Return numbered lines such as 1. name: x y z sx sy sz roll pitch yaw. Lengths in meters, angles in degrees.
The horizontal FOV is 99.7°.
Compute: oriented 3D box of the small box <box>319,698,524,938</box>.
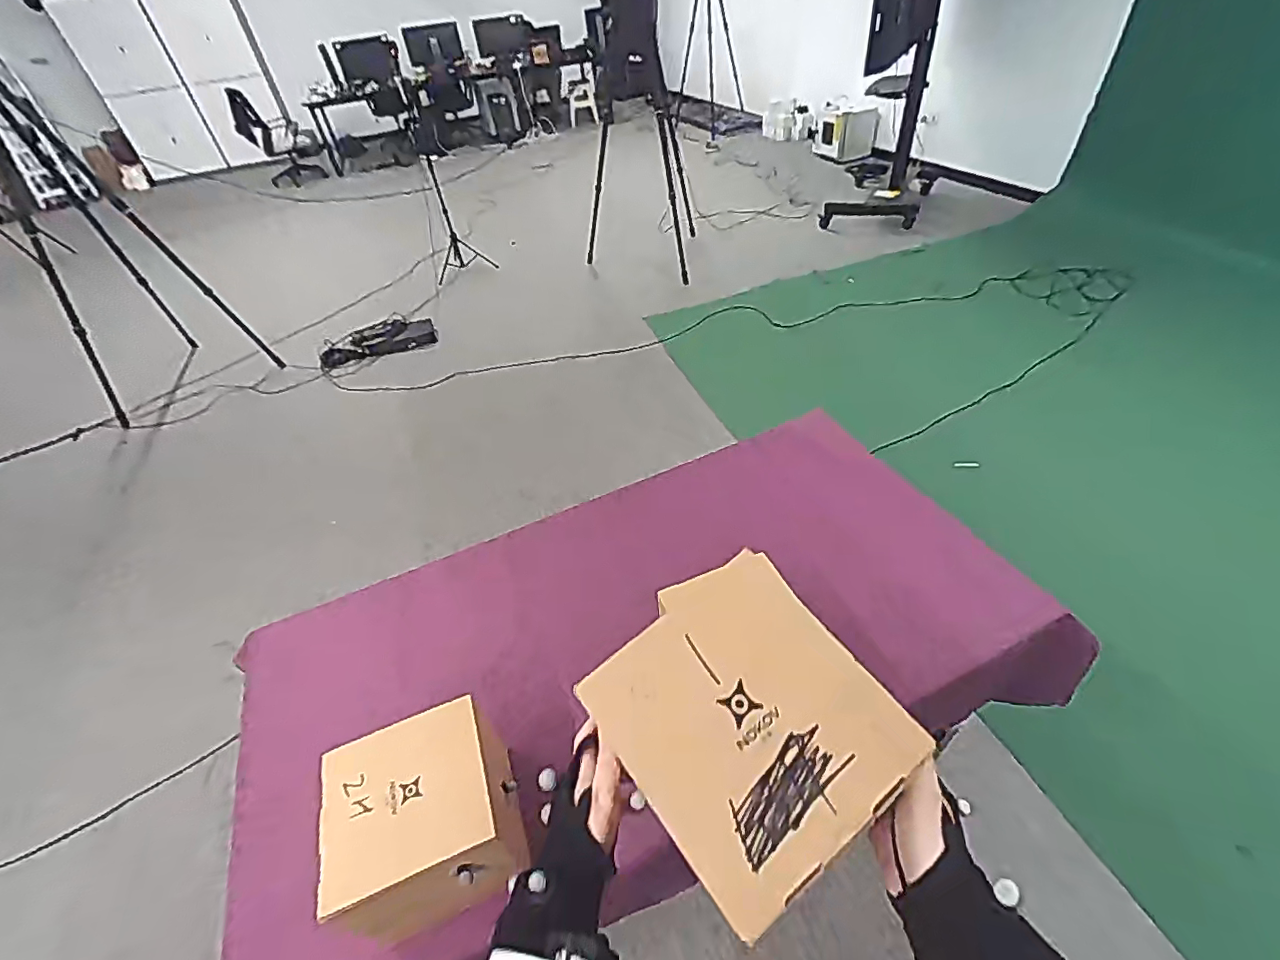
1. small box: -0.247 0.398 0.641 0.179 0.176 0.168 -20 44 -12
